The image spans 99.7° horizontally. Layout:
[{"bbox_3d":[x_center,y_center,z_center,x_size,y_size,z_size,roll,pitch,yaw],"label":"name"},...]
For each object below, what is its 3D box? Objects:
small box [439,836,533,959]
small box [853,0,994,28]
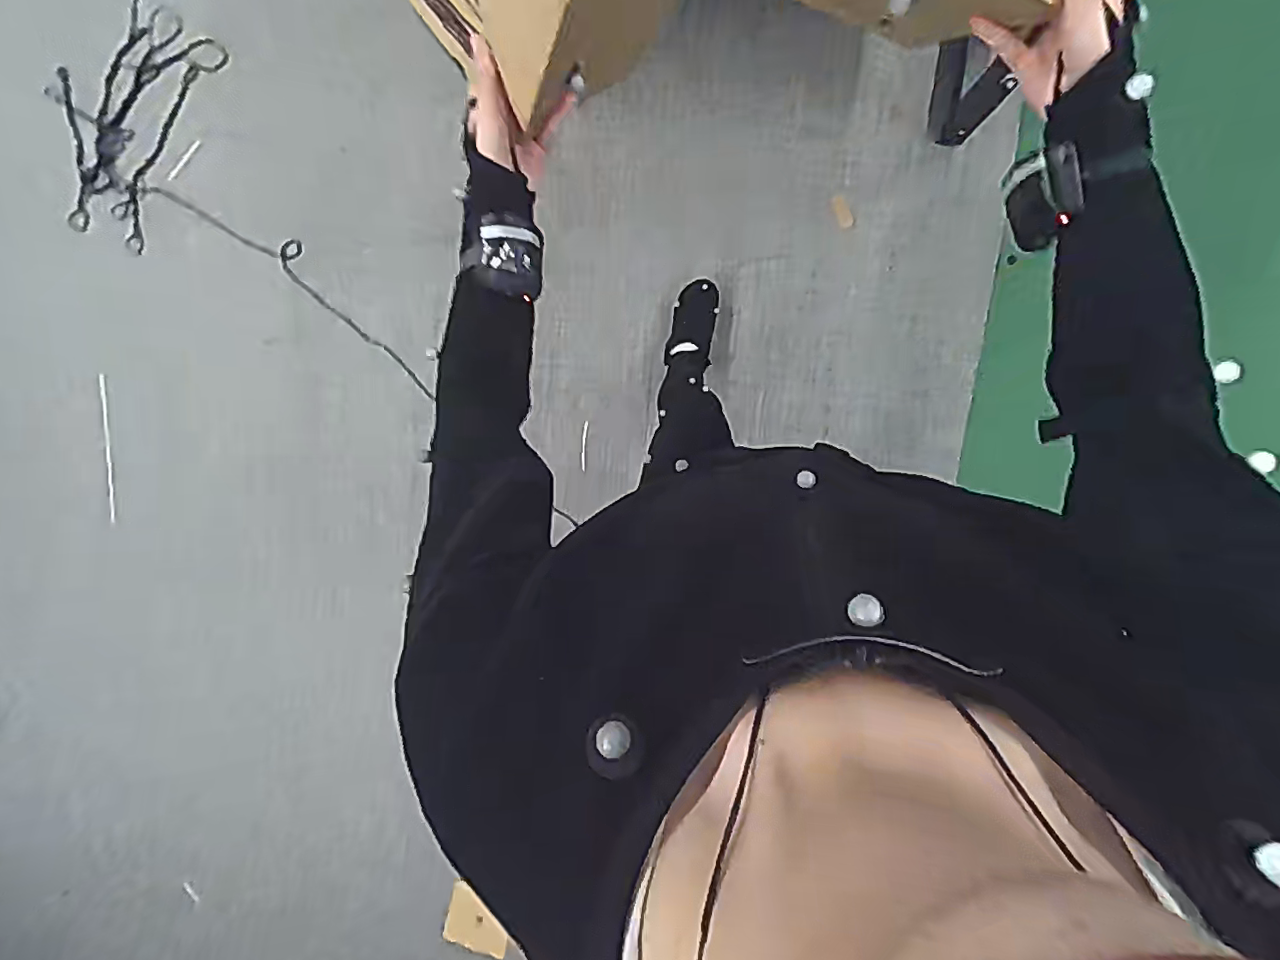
[{"bbox_3d":[-0.397,1.093,1.420,0.168,0.176,0.179,16,98,5],"label":"small box"},{"bbox_3d":[0.237,-0.481,0.405,0.168,0.176,0.179,0,117,-23],"label":"small box"}]
